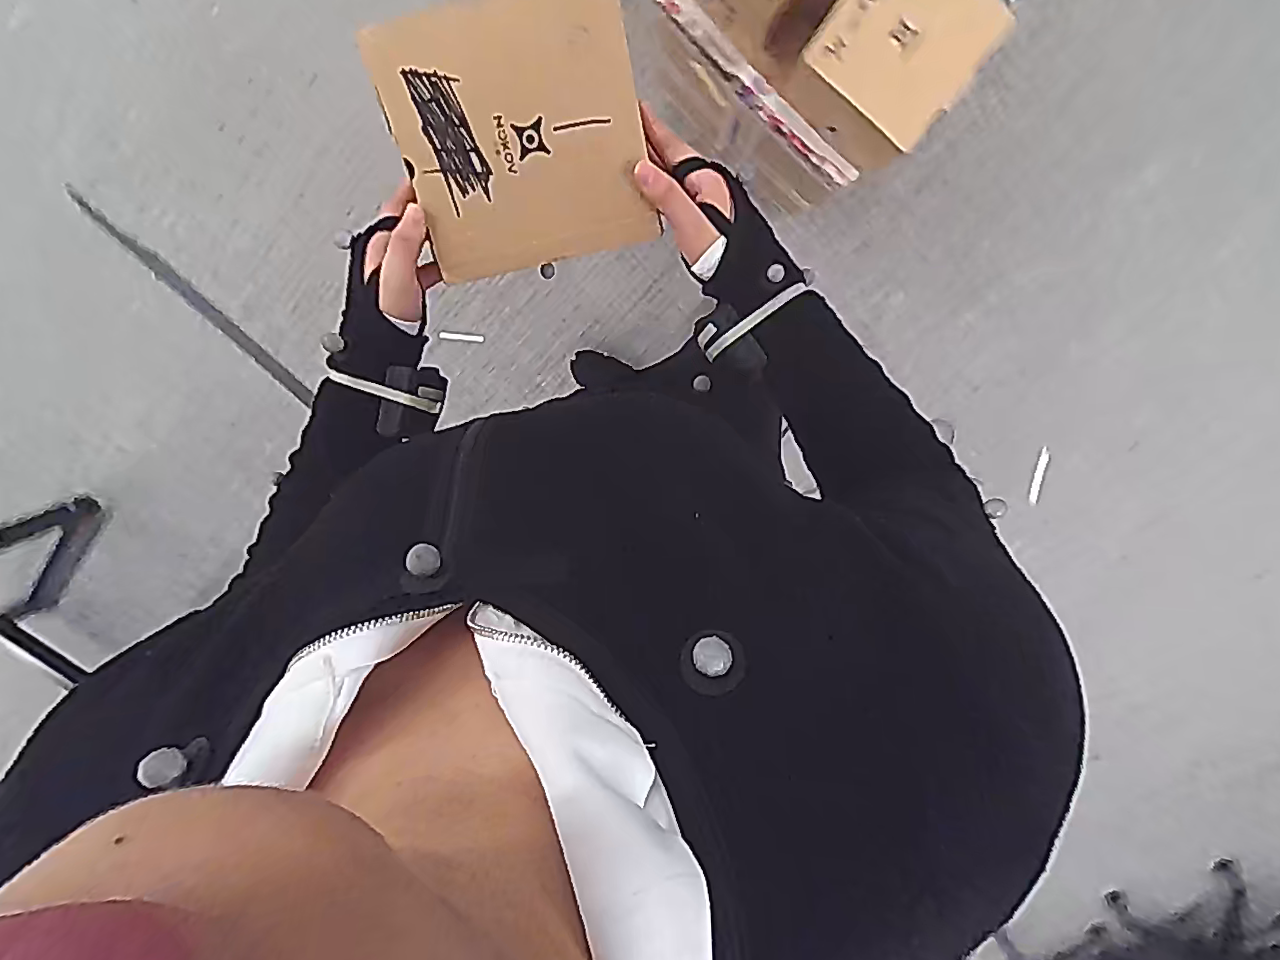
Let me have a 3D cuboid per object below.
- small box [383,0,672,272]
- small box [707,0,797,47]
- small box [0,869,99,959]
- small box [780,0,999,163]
[{"bbox_3d":[-0.073,-0.282,0.457,0.179,0.176,0.168,-10,115,5],"label":"small box"},{"bbox_3d":[0.154,-0.703,0.670,0.168,0.176,0.179,40,112,-8],"label":"small box"},{"bbox_3d":[-1.291,0.956,1.116,0.168,0.176,0.179,43,108,-11],"label":"small box"},{"bbox_3d":[0.312,-0.551,0.716,0.179,0.176,0.168,35,112,-10],"label":"small box"}]
